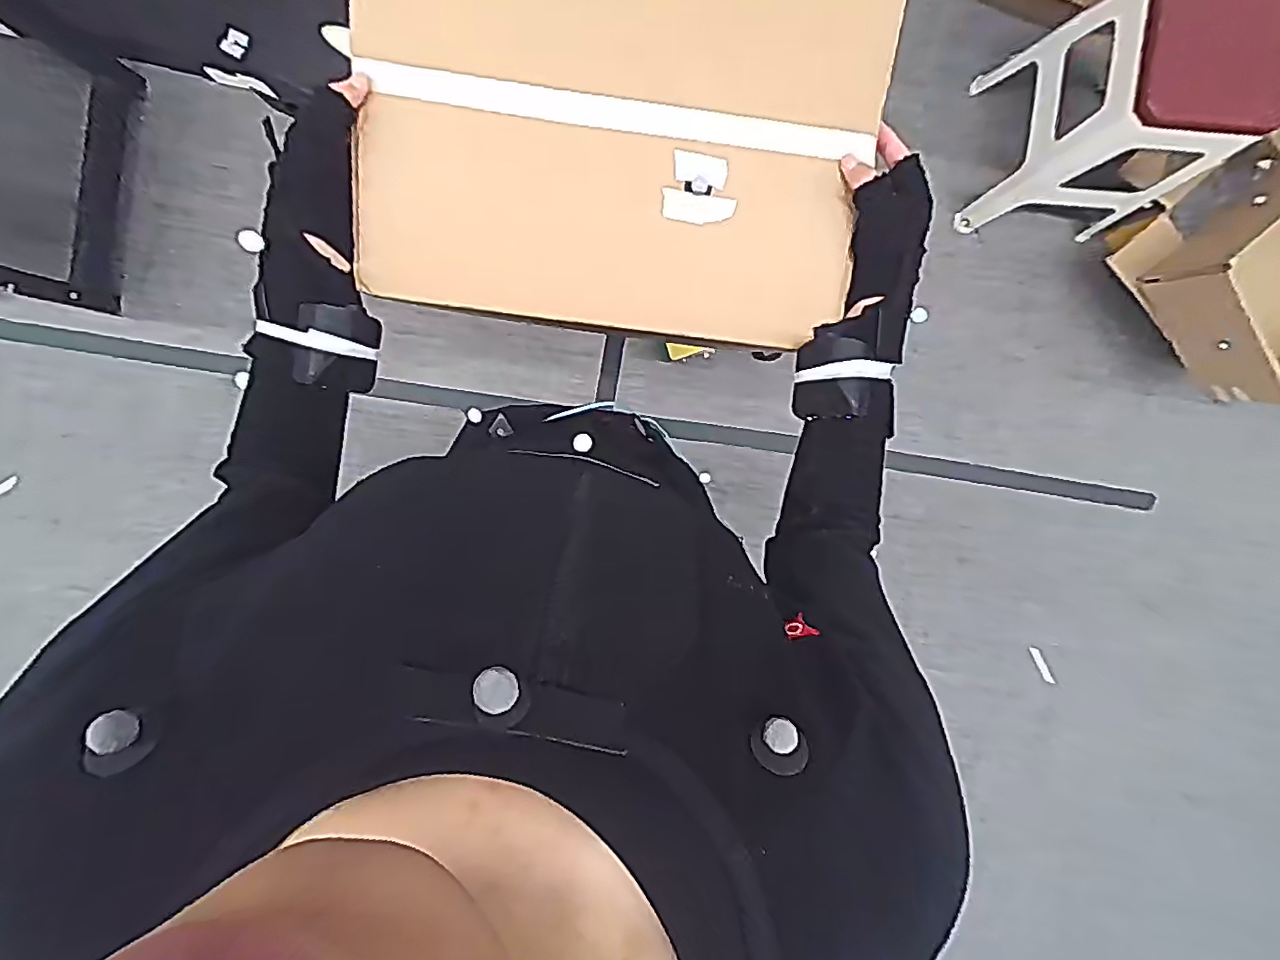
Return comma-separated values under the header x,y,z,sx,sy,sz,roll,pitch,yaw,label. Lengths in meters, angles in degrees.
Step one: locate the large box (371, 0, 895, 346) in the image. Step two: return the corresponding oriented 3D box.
x,y,z,sx,sy,sz,roll,pitch,yaw,label
-0.020,-0.322,0.577,0.408,0.320,0.320,6,105,-5,large box
